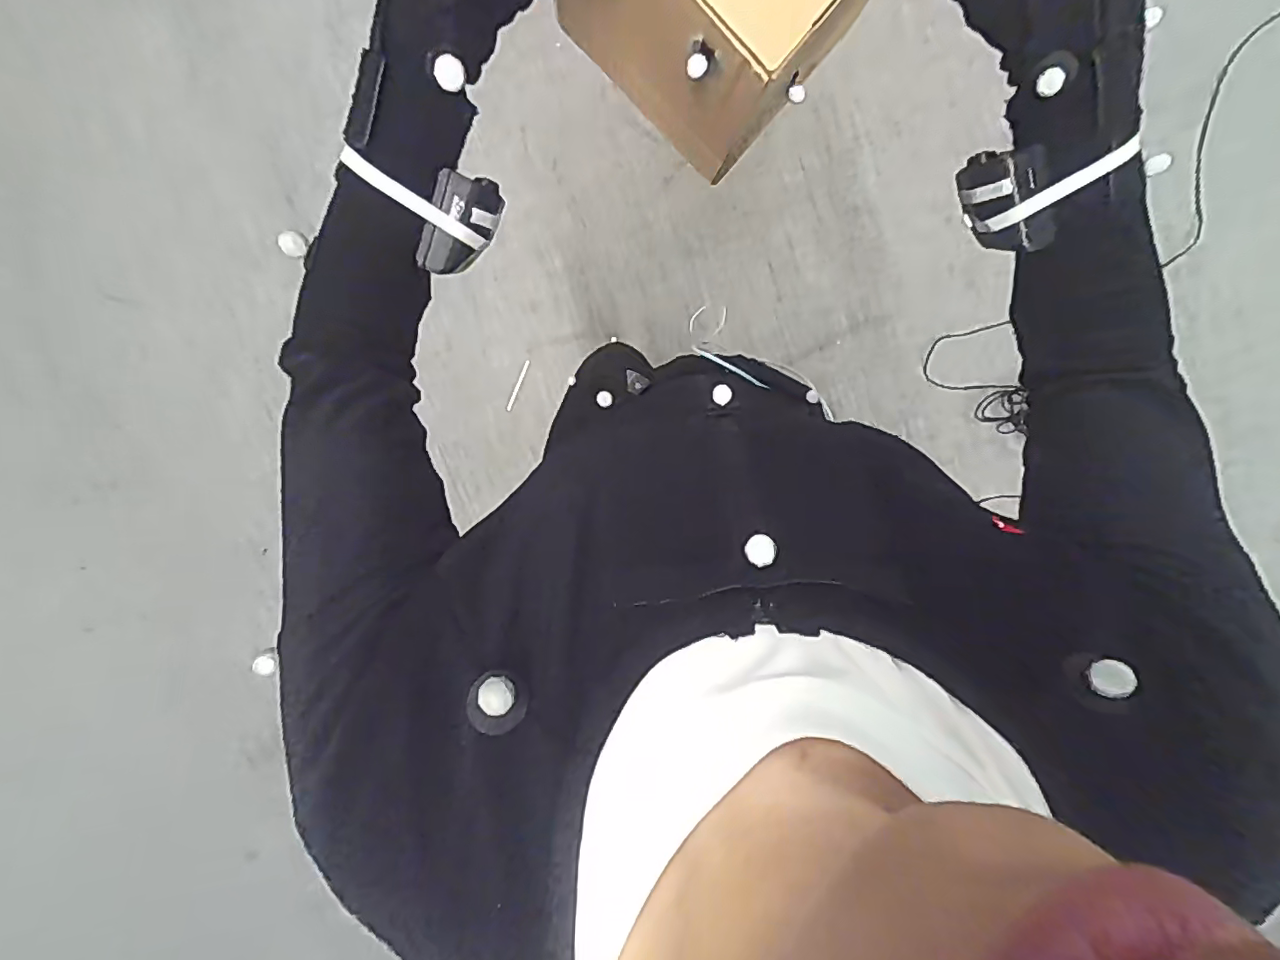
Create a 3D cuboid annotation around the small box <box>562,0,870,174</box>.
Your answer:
[{"bbox_3d":[0.056,-0.350,0.358,0.179,0.176,0.168,42,95,-10],"label":"small box"}]
